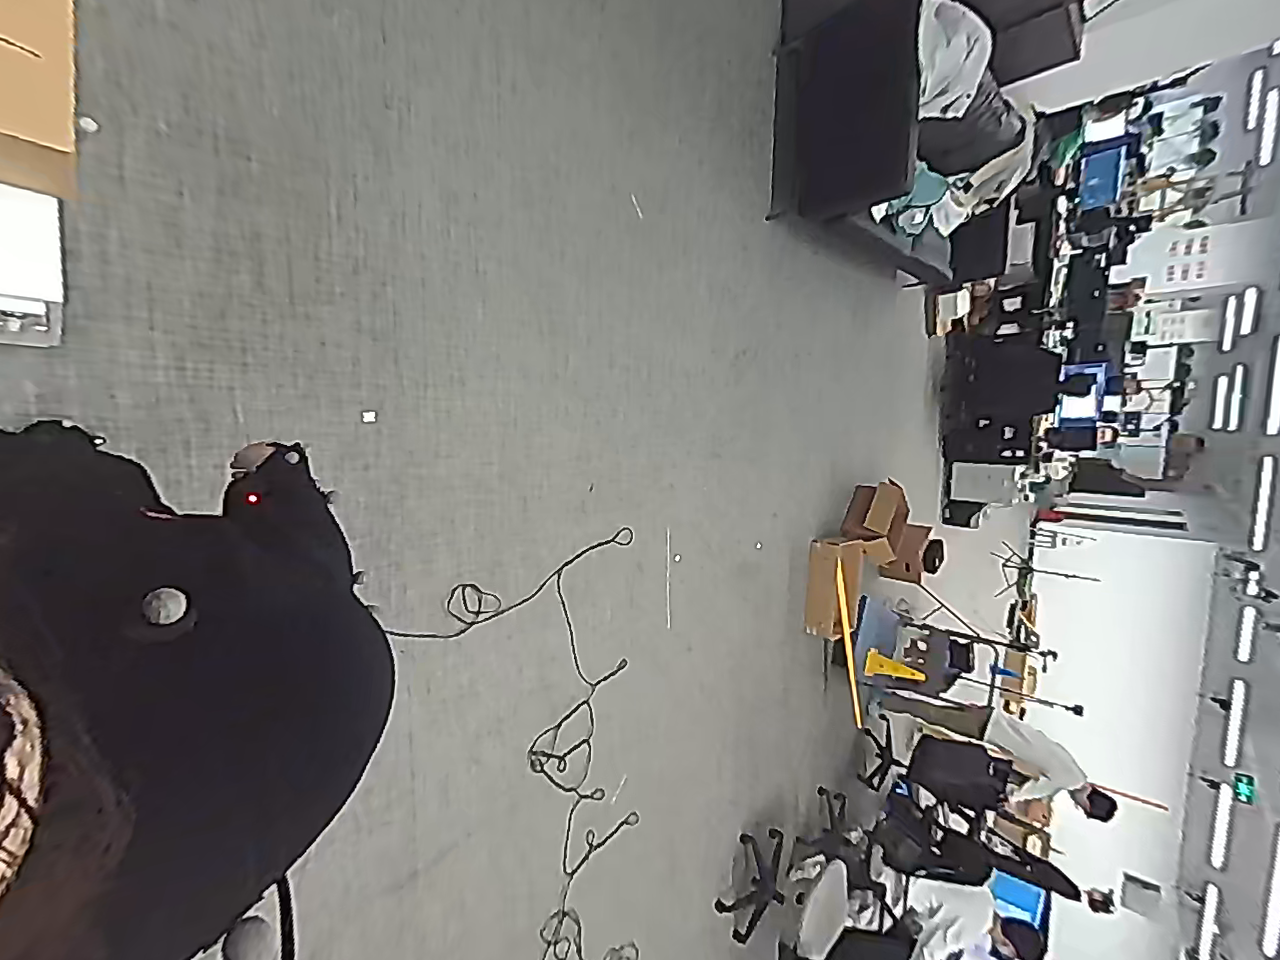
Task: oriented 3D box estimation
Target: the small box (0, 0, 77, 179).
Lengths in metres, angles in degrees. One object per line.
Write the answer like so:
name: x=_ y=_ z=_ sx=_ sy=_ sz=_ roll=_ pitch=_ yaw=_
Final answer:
small box: x=-0.663 y=-0.418 z=0.513 sx=0.179 sy=0.176 sz=0.168 roll=0 pitch=95 yaw=-47
